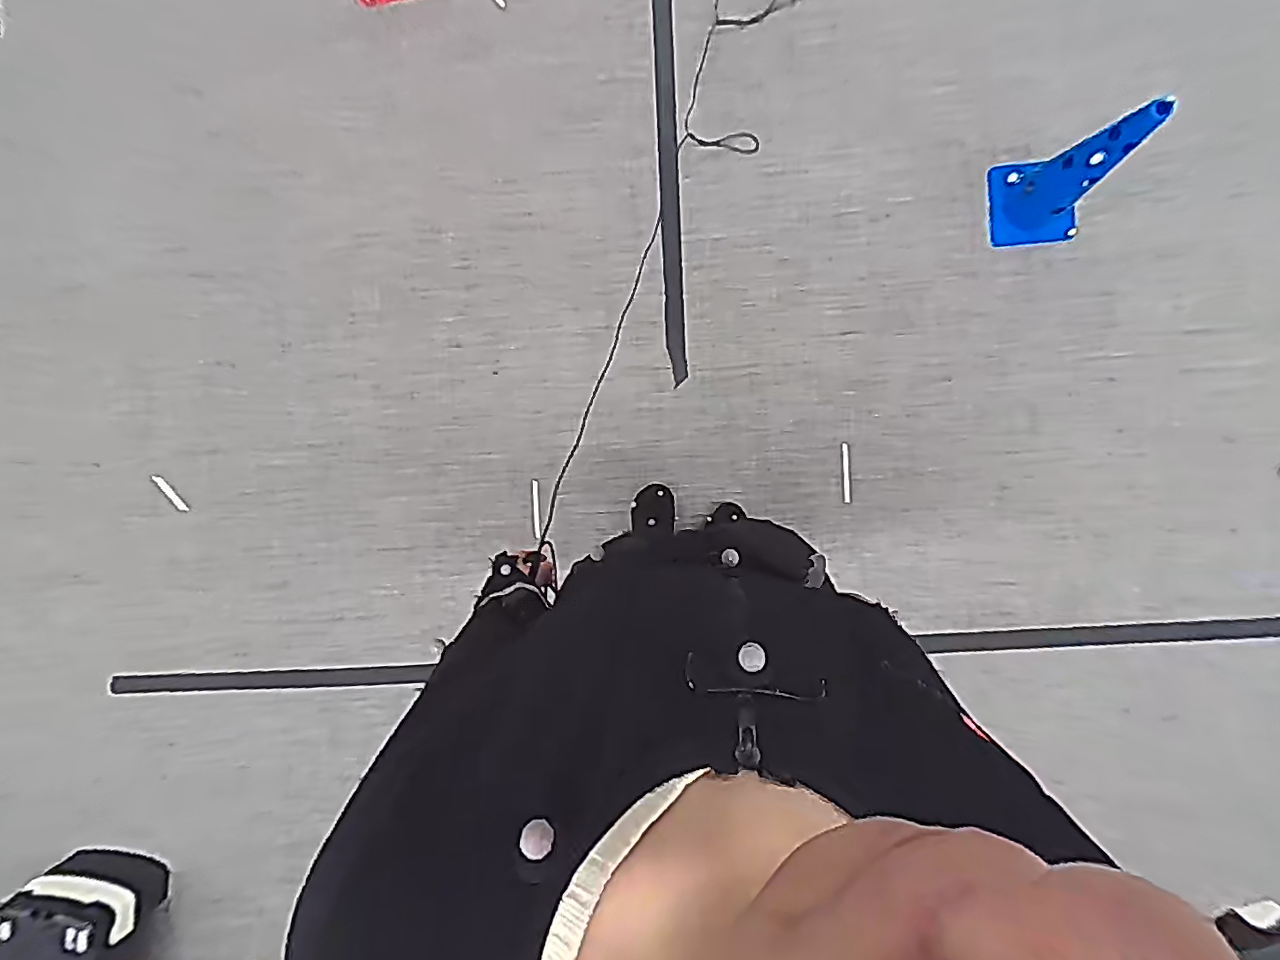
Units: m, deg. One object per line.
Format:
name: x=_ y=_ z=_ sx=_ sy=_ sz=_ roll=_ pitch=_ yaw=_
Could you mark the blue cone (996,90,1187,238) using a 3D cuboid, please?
blue cone: x=0.958 y=-0.684 z=1.151 sx=0.192 sy=0.380 sz=0.193 roll=-2 pitch=91 yaw=2
